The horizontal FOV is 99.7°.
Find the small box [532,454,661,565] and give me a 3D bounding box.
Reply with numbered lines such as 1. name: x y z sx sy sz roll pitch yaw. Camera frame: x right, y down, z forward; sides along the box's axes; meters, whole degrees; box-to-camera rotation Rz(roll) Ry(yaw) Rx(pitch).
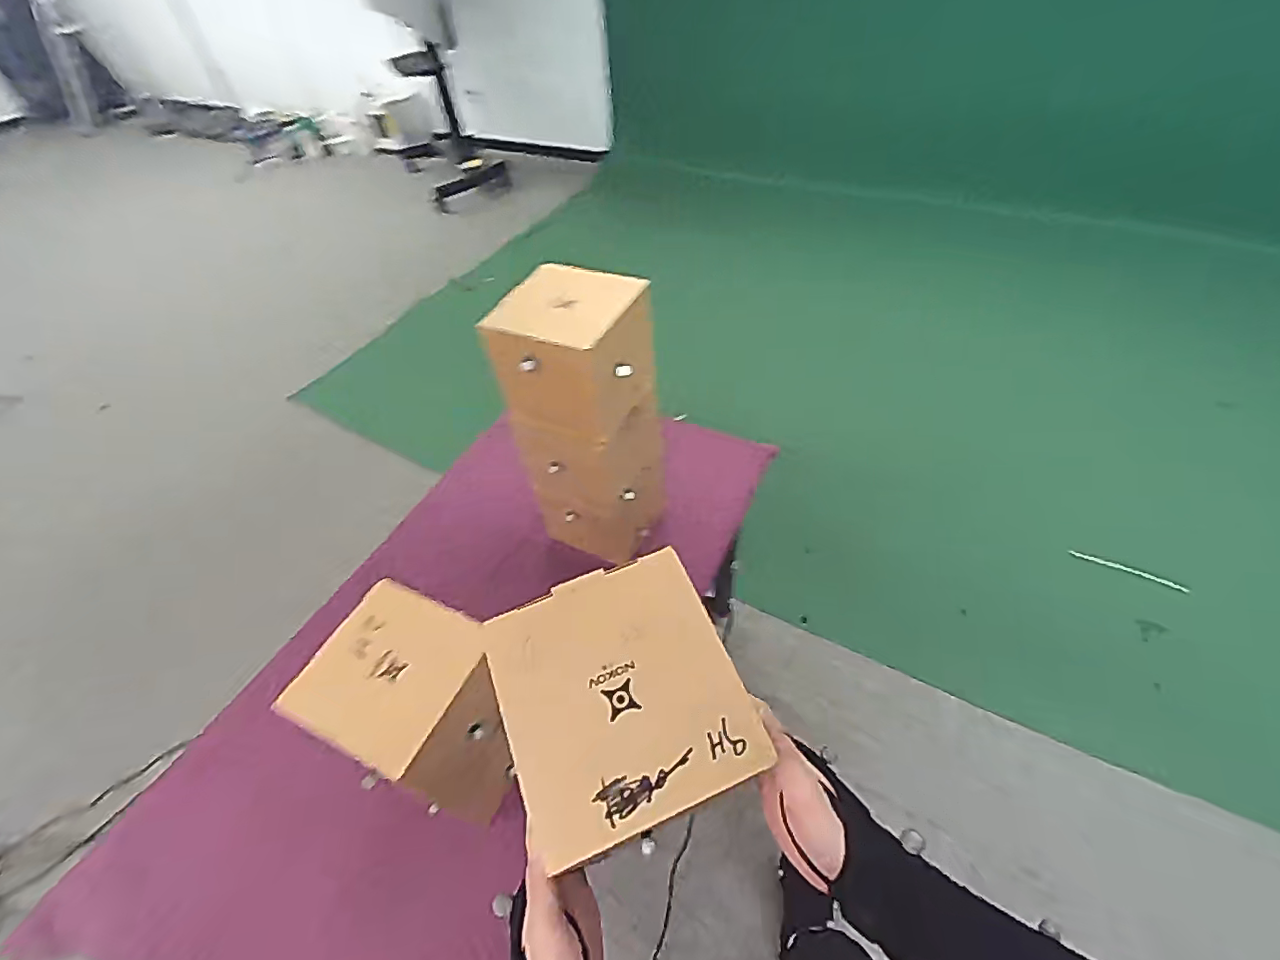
1. small box: -0.074 0.034 1.028 0.179 0.176 0.168 21 56 22

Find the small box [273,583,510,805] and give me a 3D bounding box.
1. small box: -0.266 0.257 0.640 0.179 0.176 0.168 17 53 20

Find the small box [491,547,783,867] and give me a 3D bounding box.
1. small box: -0.005 0.190 0.450 0.168 0.176 0.179 -21 57 -8

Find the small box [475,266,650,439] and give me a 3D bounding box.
1. small box: -0.098 -0.182 0.786 0.179 0.176 0.168 17 55 22

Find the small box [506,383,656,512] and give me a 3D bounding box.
1. small box: -0.086 -0.070 0.903 0.179 0.176 0.168 19 55 23
